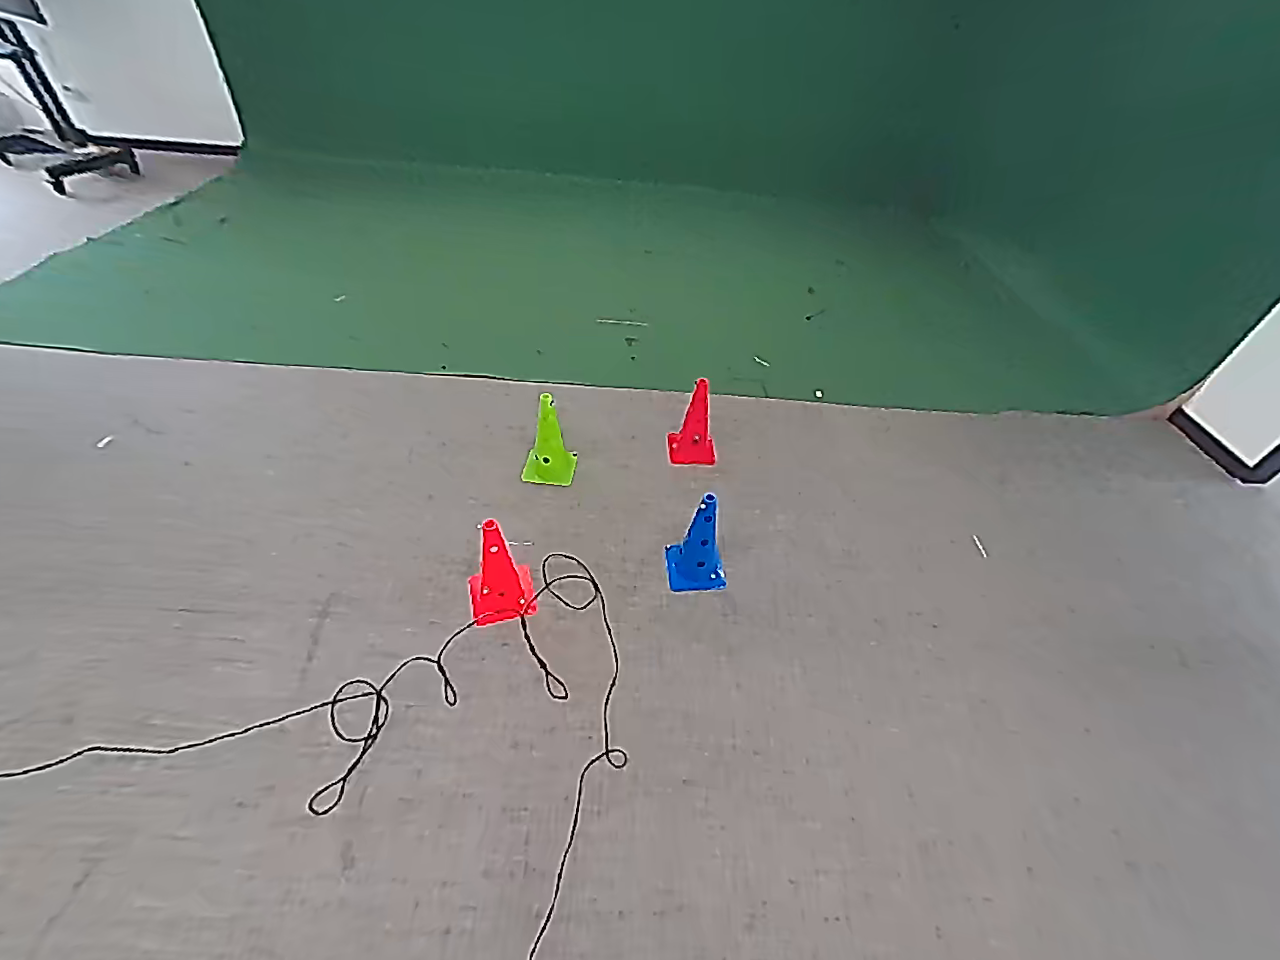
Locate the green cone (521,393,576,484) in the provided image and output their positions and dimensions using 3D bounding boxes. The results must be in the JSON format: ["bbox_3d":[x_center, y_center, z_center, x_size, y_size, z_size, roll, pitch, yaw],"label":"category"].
[{"bbox_3d":[-0.361,-0.183,2.092,0.200,0.368,0.202,5,45,0],"label":"green cone"}]

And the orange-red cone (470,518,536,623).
[{"bbox_3d":[-0.435,0.246,1.649,0.198,0.360,0.199,-9,44,-16],"label":"orange-red cone"}]
